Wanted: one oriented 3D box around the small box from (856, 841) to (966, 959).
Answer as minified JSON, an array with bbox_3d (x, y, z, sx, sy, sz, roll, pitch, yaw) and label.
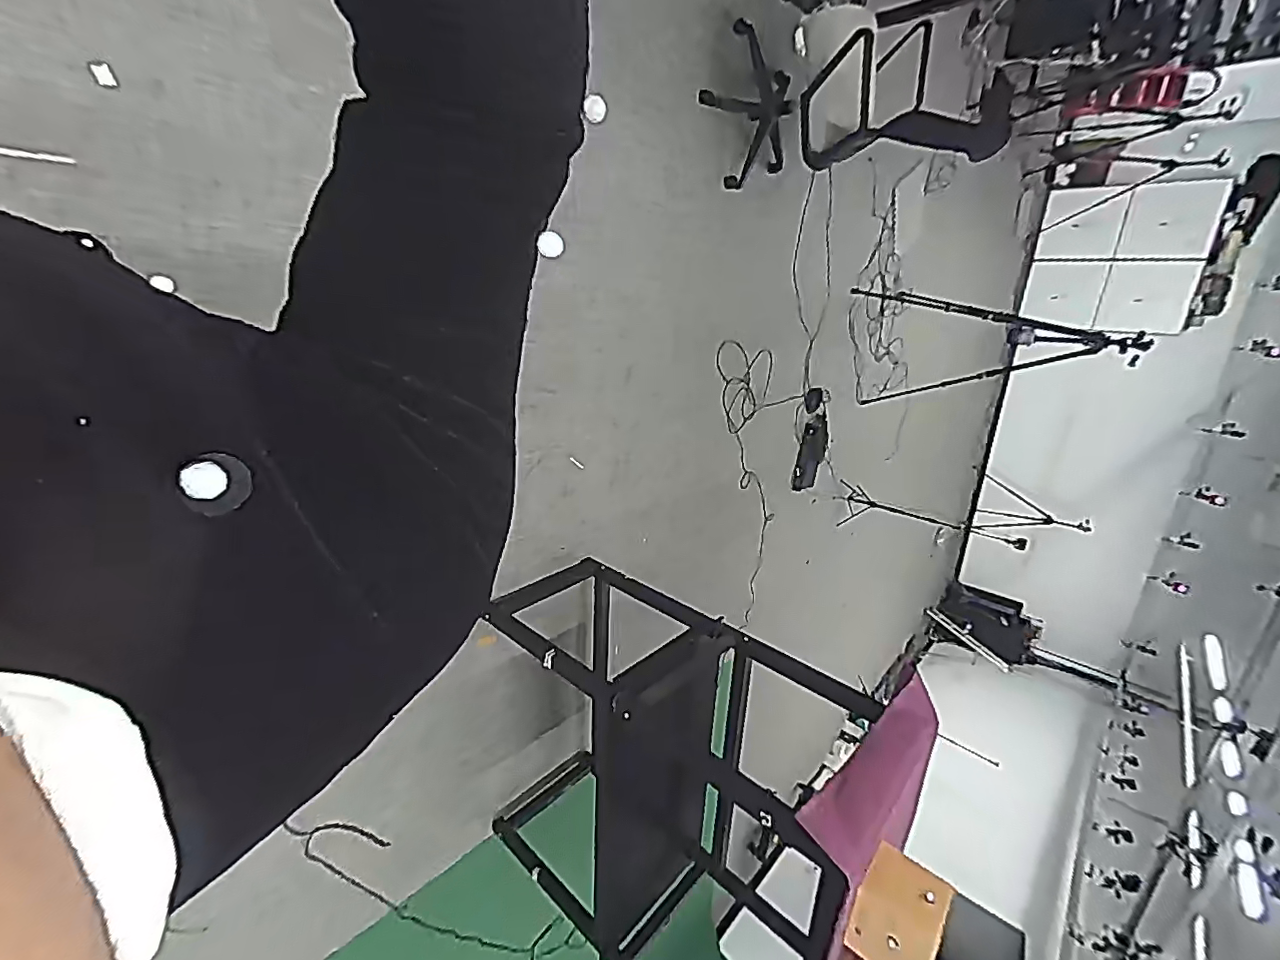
[{"bbox_3d":[0.603,0.971,1.211,0.179,0.176,0.168,-14,114,-48],"label":"small box"}]
